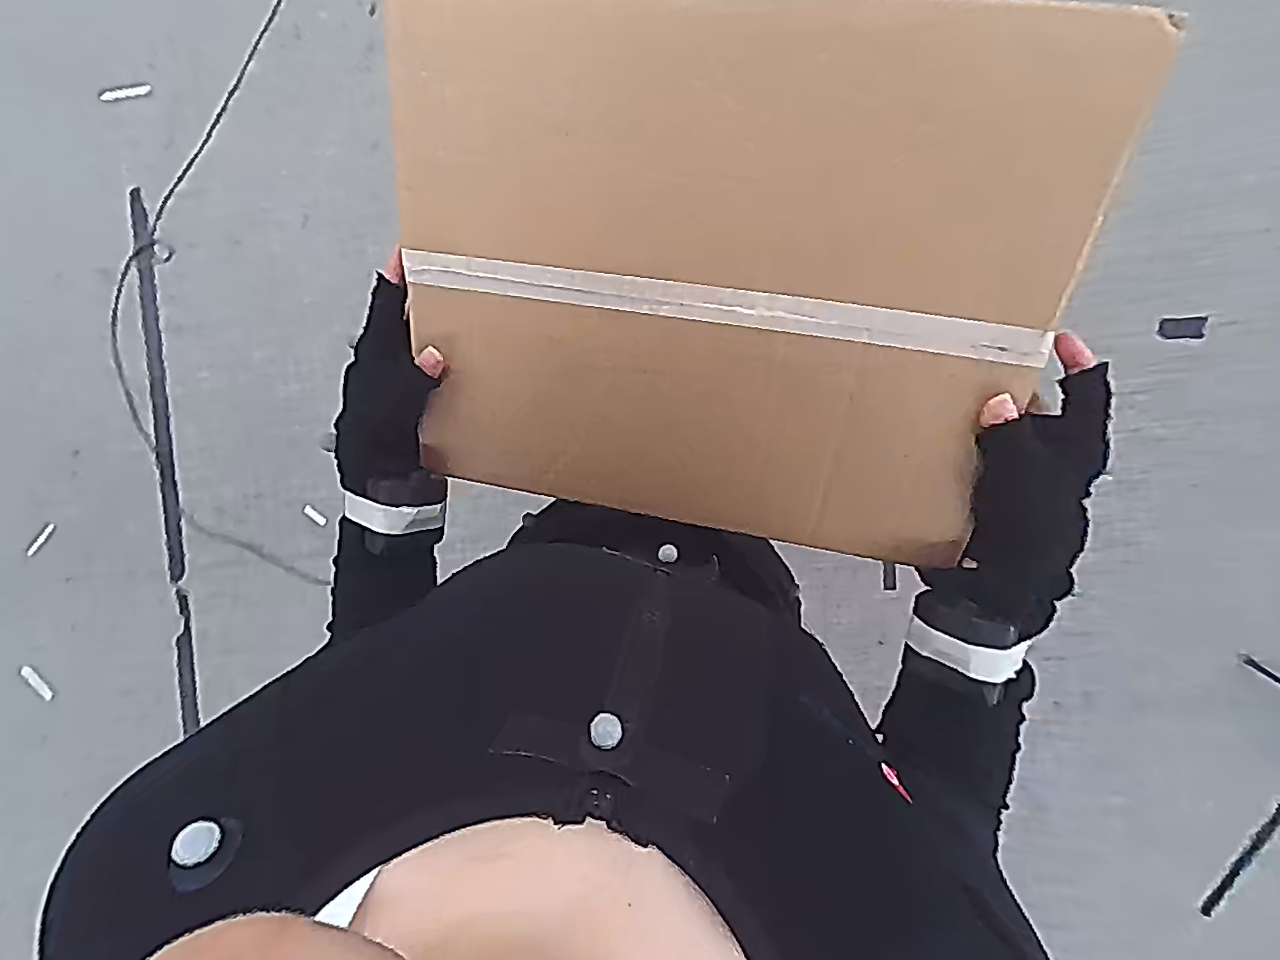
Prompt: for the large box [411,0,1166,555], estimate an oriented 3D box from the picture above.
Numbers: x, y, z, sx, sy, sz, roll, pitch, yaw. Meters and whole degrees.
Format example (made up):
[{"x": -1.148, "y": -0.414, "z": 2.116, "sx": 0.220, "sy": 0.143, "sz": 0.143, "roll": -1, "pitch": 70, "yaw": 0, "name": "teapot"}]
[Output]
[{"x": 0.072, "y": -0.176, "z": 0.481, "sx": 0.408, "sy": 0.320, "sz": 0.320, "roll": 11, "pitch": 117, "yaw": 8, "name": "large box"}]
